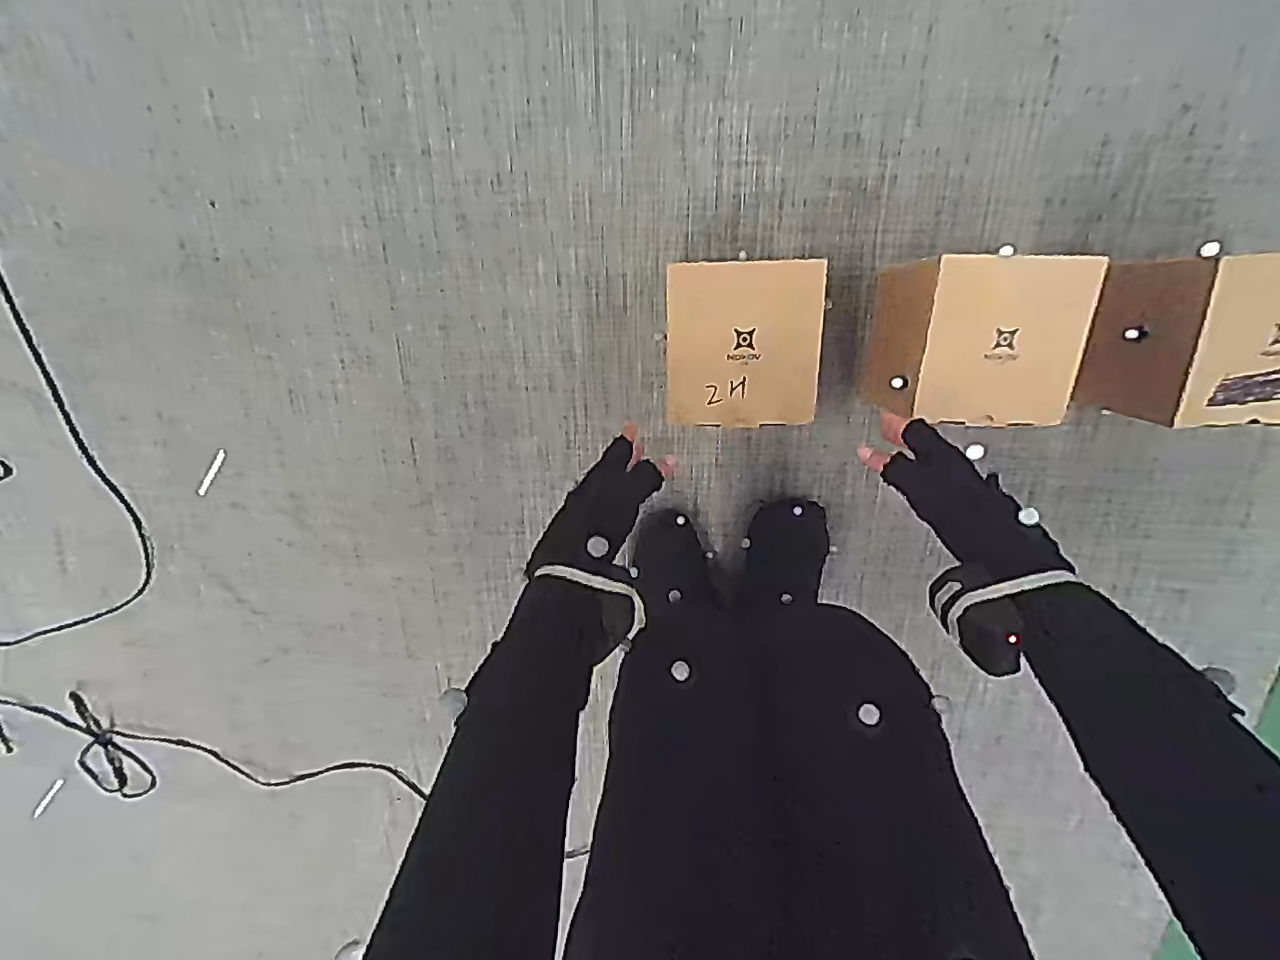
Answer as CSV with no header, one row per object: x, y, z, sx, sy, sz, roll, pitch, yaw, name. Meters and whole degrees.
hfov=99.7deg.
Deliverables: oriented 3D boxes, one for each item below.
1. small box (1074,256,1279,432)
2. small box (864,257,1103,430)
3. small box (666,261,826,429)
0.651,-0.160,0.625,0.168,0.176,0.179,-1,107,4,small box
0.383,-0.162,0.642,0.168,0.176,0.179,1,108,3,small box
0.115,-0.164,0.655,0.168,0.176,0.179,1,108,5,small box
